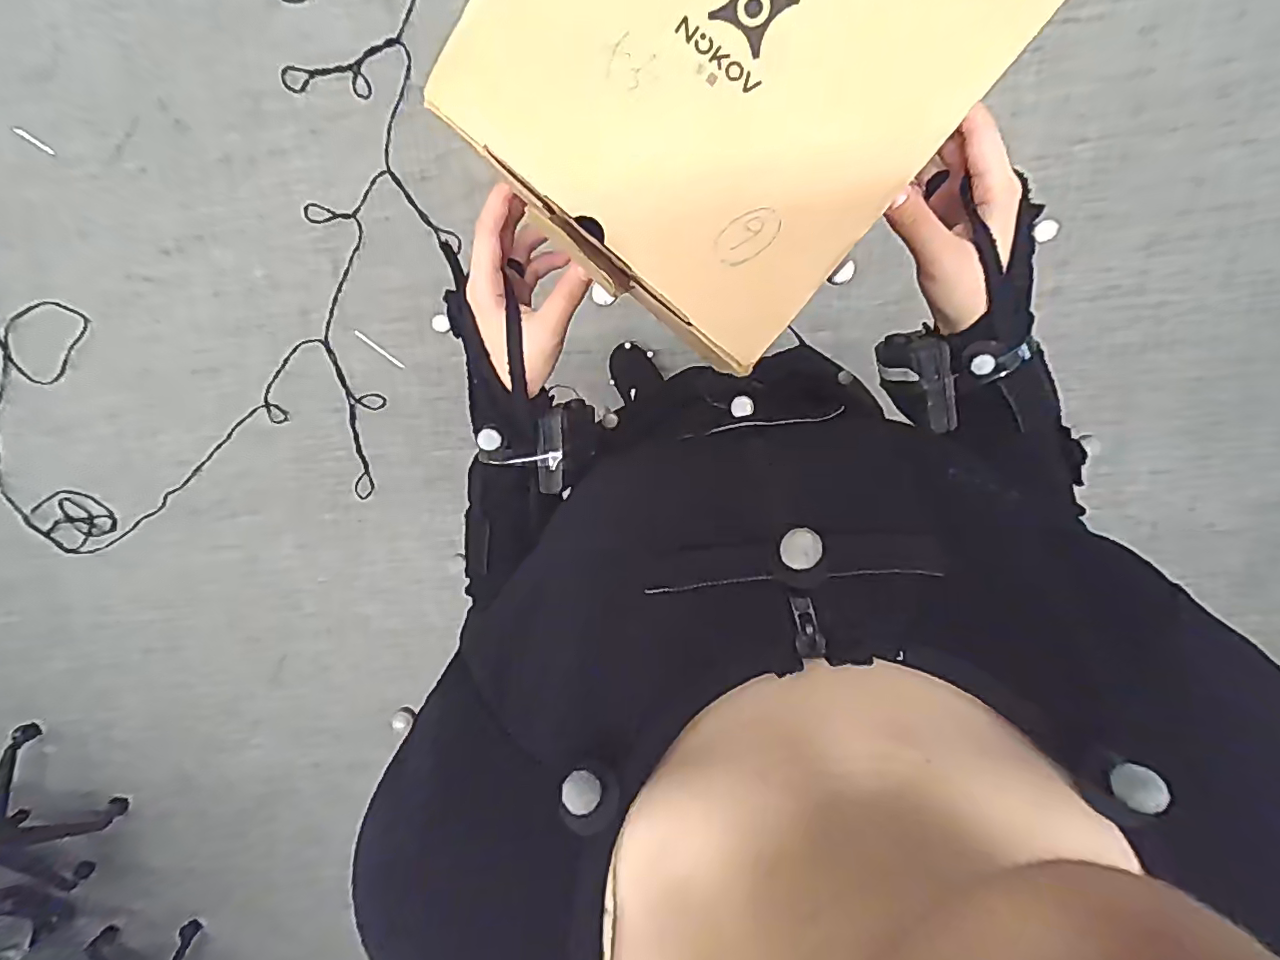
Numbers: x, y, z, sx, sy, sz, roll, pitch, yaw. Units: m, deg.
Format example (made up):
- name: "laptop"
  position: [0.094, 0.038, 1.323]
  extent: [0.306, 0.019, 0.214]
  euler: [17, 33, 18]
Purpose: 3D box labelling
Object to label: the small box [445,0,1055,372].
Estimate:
- name: "small box"
  position: [0.042, -0.175, 0.283]
  extent: [0.168, 0.176, 0.179]
  euler: [39, 103, -3]
